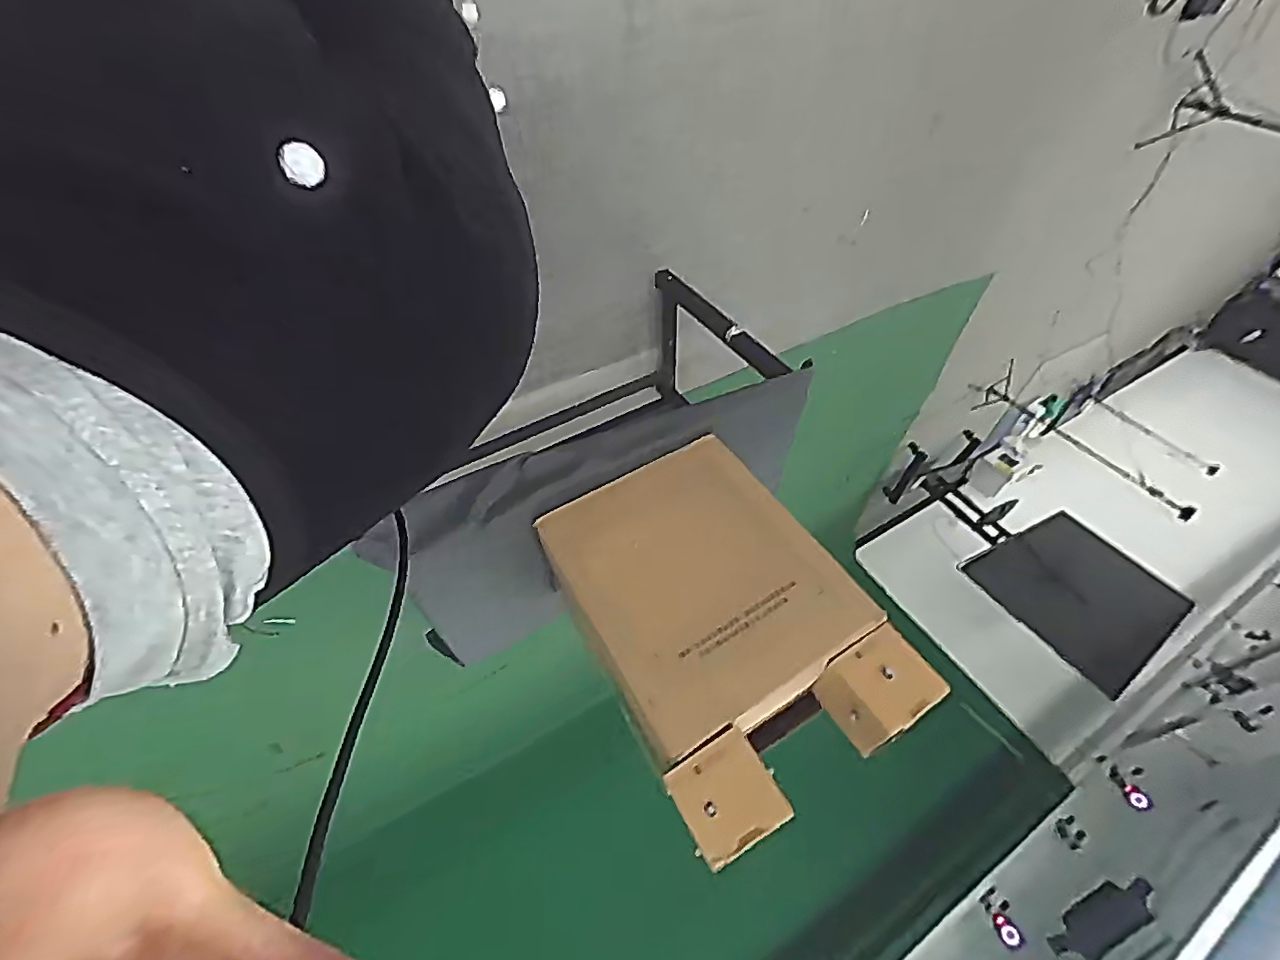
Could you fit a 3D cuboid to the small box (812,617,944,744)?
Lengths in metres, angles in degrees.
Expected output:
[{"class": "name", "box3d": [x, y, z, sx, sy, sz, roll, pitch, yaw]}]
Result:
[{"class": "small box", "box3d": [0.493, 0.418, 1.149, 0.168, 0.176, 0.179, -27, 145, -18]}]

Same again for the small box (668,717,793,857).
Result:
[{"class": "small box", "box3d": [0.165, 0.575, 1.022, 0.168, 0.176, 0.179, -30, 147, -10]}]
